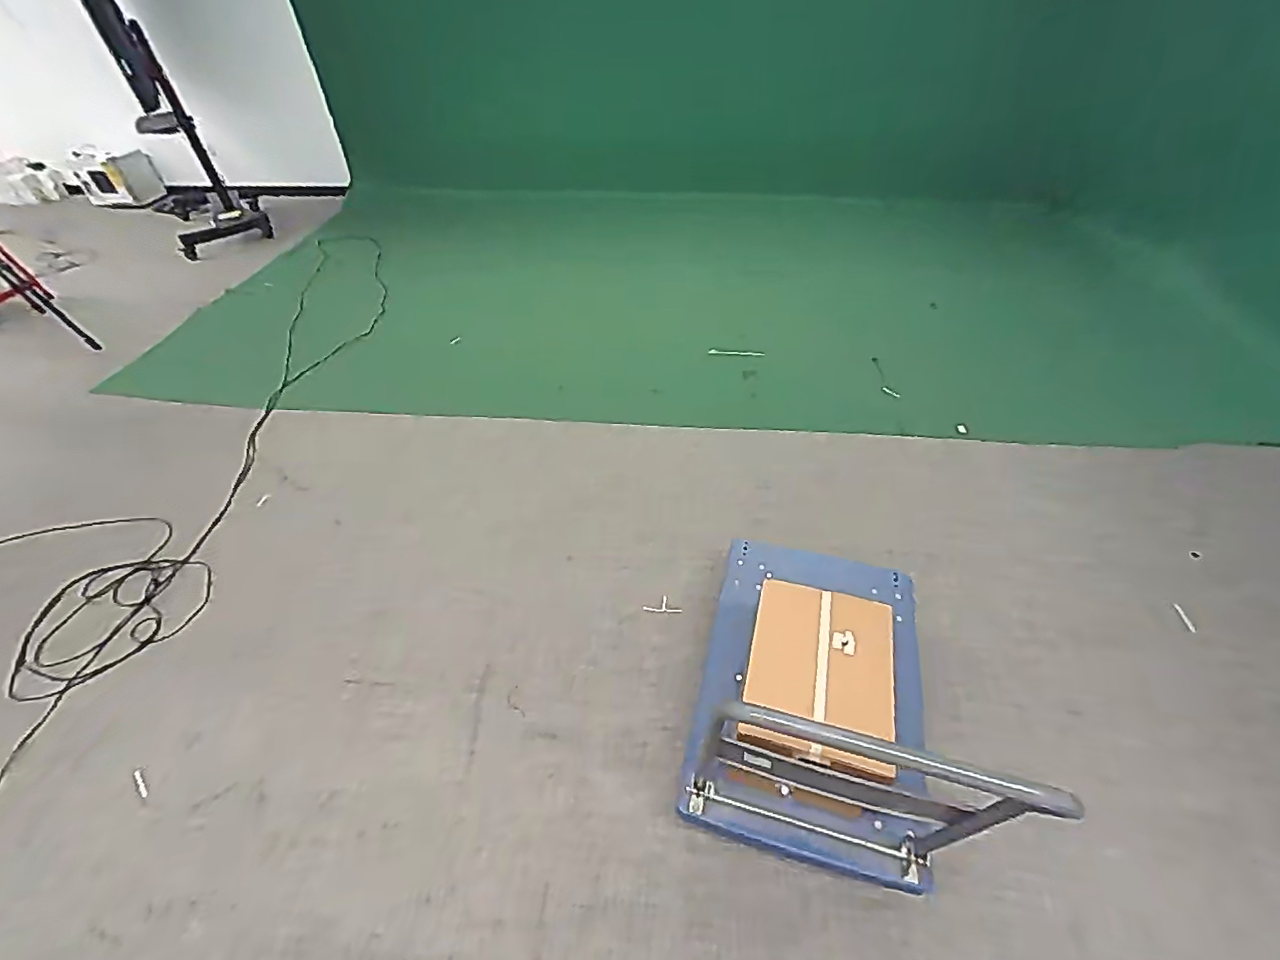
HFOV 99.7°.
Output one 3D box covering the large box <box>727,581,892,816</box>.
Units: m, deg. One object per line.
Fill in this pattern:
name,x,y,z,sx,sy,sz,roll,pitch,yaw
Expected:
large box,0.403,0.527,1.328,0.320,0.320,0.408,11,45,12
